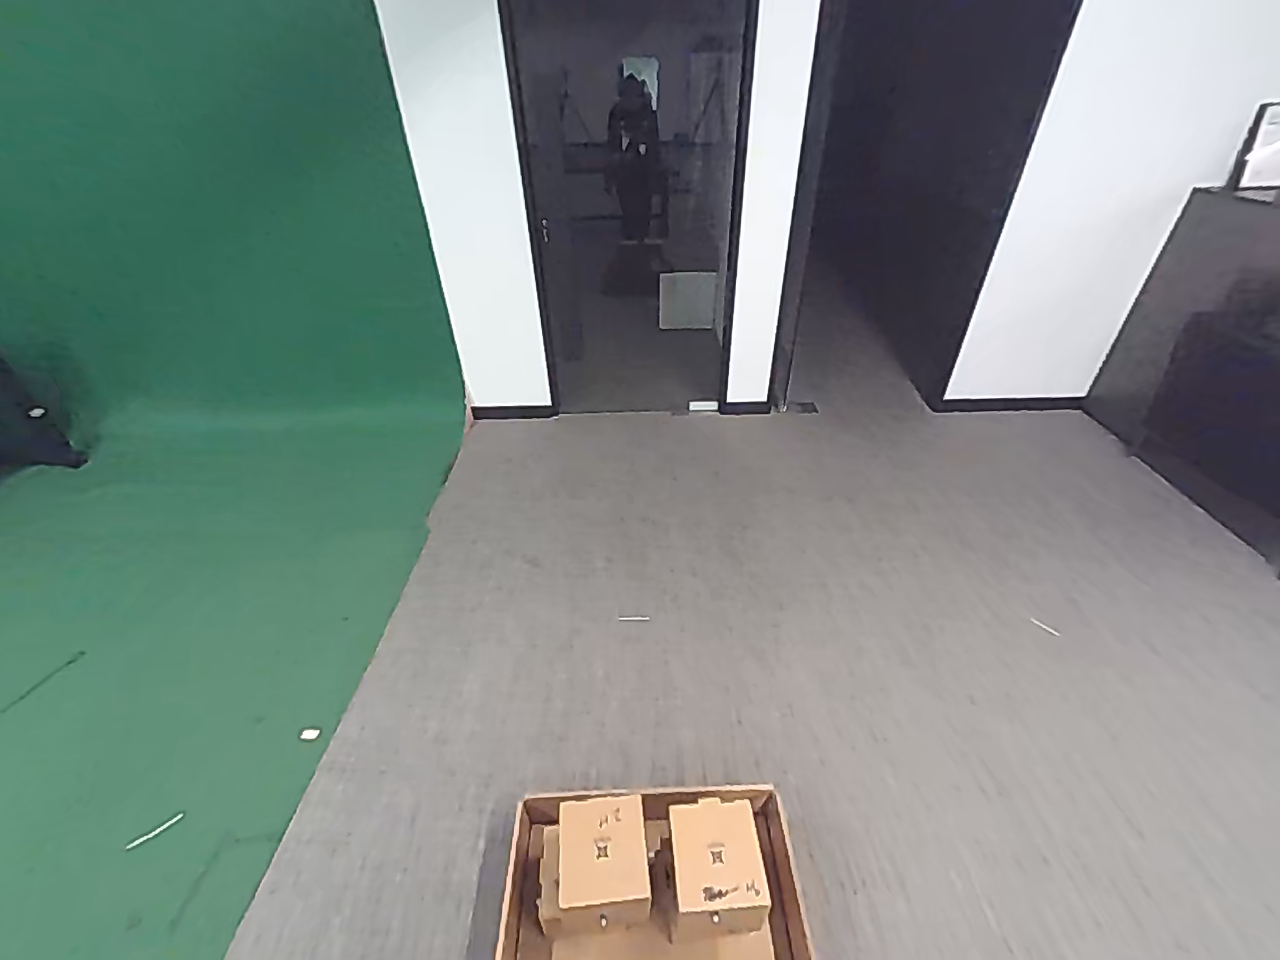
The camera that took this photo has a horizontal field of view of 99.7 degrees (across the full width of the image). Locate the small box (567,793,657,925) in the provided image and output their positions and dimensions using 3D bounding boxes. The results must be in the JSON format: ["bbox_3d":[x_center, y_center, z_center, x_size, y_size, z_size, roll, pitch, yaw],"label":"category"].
[{"bbox_3d":[-0.055,0.757,1.076,0.168,0.176,0.179,-4,39,-5],"label":"small box"}]

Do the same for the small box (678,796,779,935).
[{"bbox_3d":[0.164,0.756,1.062,0.168,0.176,0.179,-5,37,0],"label":"small box"}]

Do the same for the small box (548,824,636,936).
[{"bbox_3d":[-0.101,0.876,1.189,0.179,0.176,0.168,-3,39,-3],"label":"small box"}]

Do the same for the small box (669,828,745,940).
[{"bbox_3d":[0.163,0.872,1.180,0.179,0.176,0.168,-6,38,-4],"label":"small box"}]
